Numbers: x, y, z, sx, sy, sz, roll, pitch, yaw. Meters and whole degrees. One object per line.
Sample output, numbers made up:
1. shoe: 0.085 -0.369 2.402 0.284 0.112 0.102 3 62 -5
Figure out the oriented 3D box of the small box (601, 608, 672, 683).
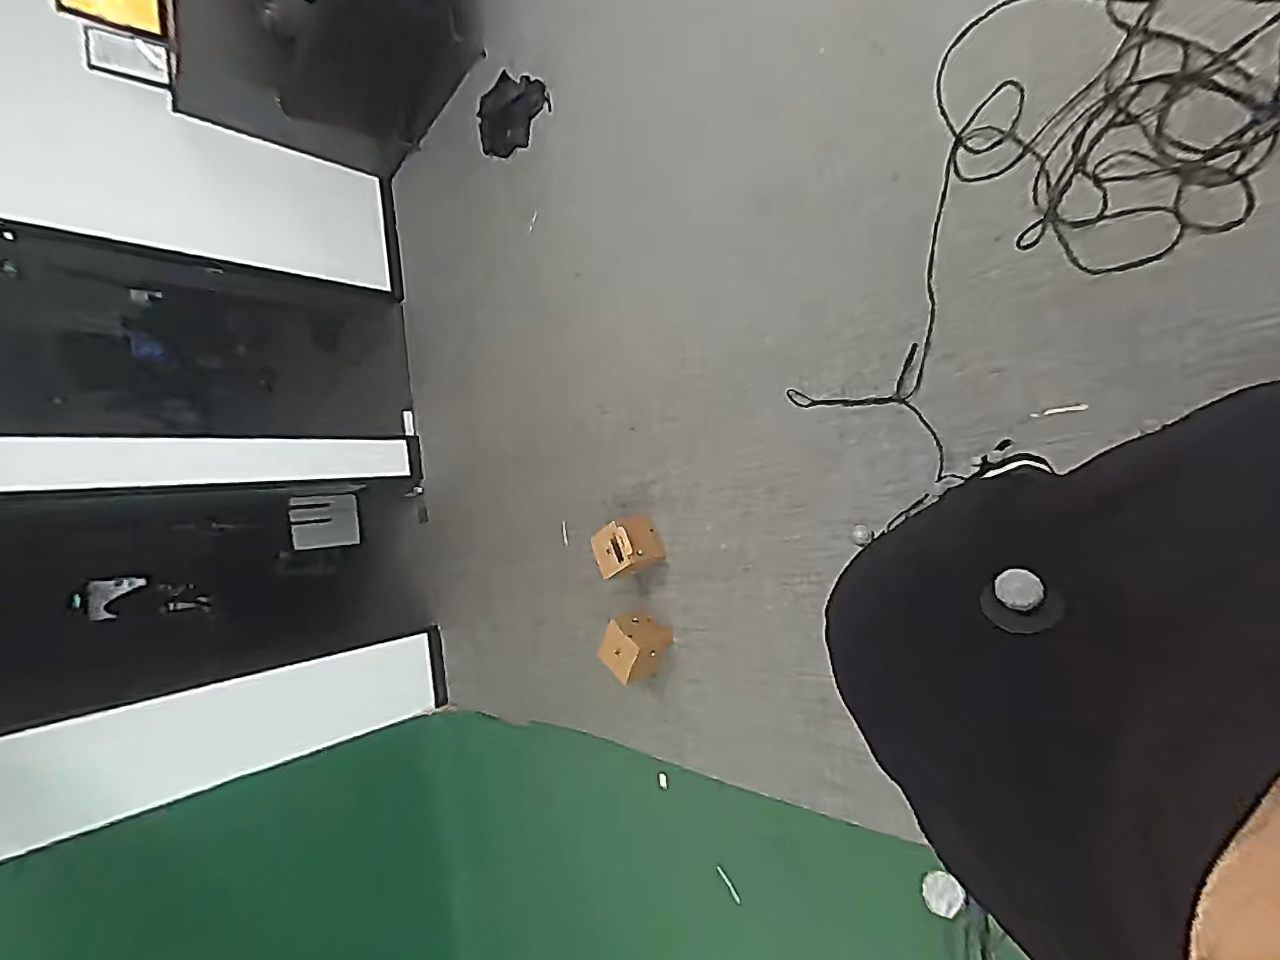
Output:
1. small box: -0.008 0.588 1.949 0.168 0.176 0.179 37 119 39
